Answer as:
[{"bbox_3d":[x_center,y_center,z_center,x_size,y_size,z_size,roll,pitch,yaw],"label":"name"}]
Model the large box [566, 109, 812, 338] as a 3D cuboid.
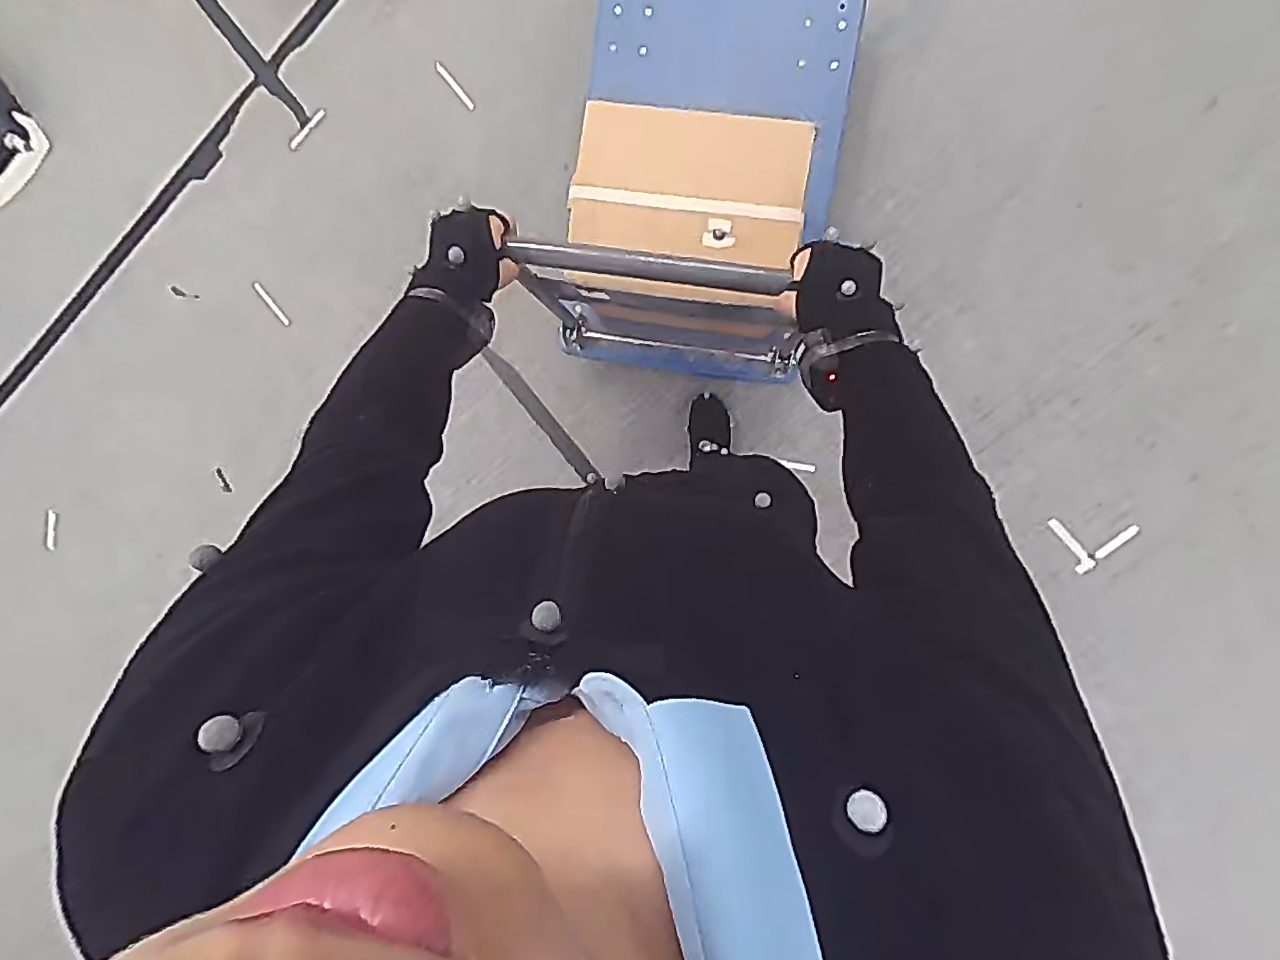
[{"bbox_3d":[0.091,-0.488,1.098,0.408,0.320,0.320,9,97,4],"label":"large box"}]
